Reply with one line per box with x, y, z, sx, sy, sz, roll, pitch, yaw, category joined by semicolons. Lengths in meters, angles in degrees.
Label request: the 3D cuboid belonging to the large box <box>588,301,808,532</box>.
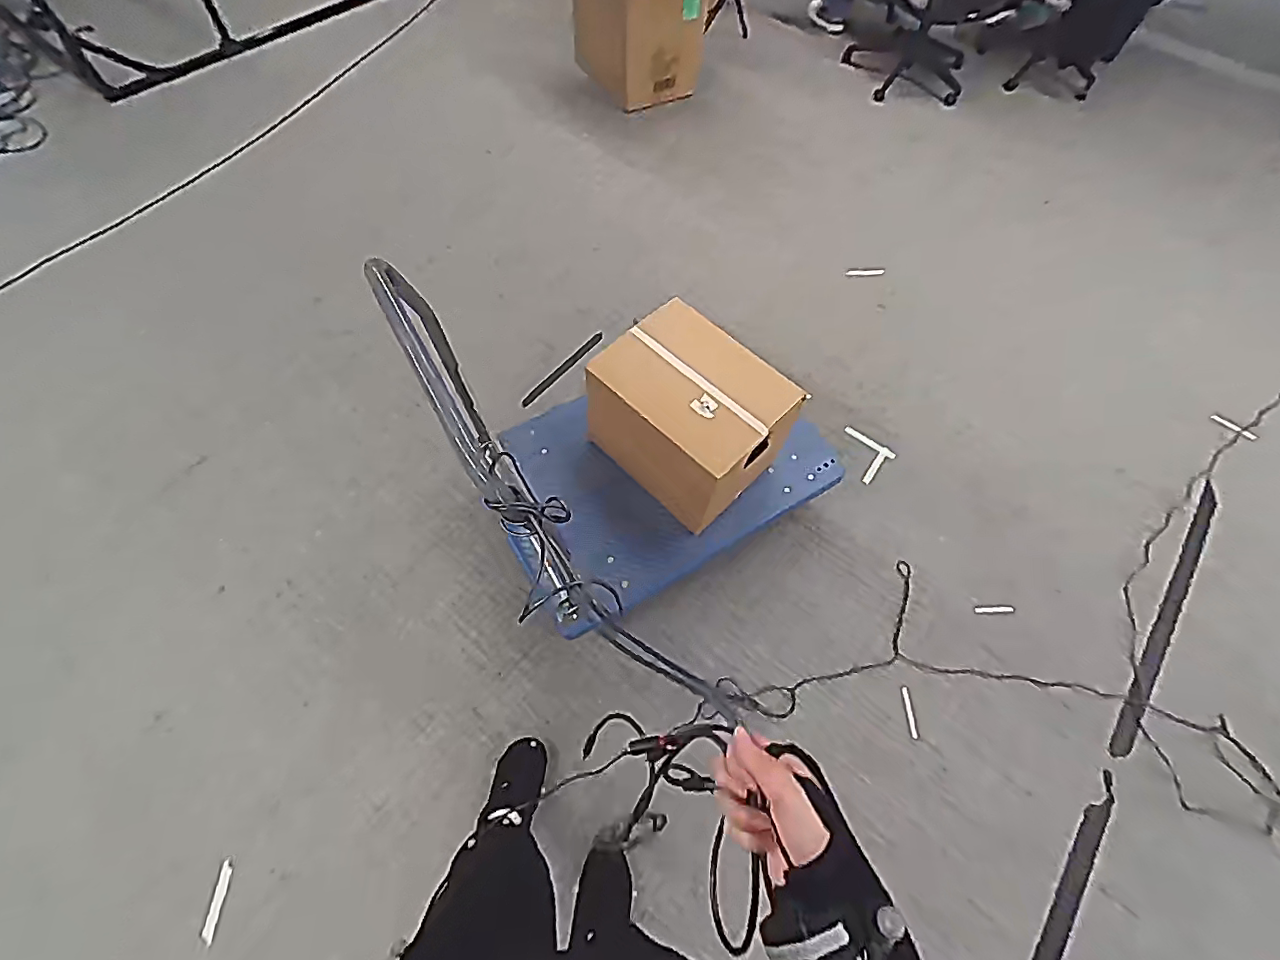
0.117;-0.149;1.327;0.408;0.320;0.320;42;69;16;large box
